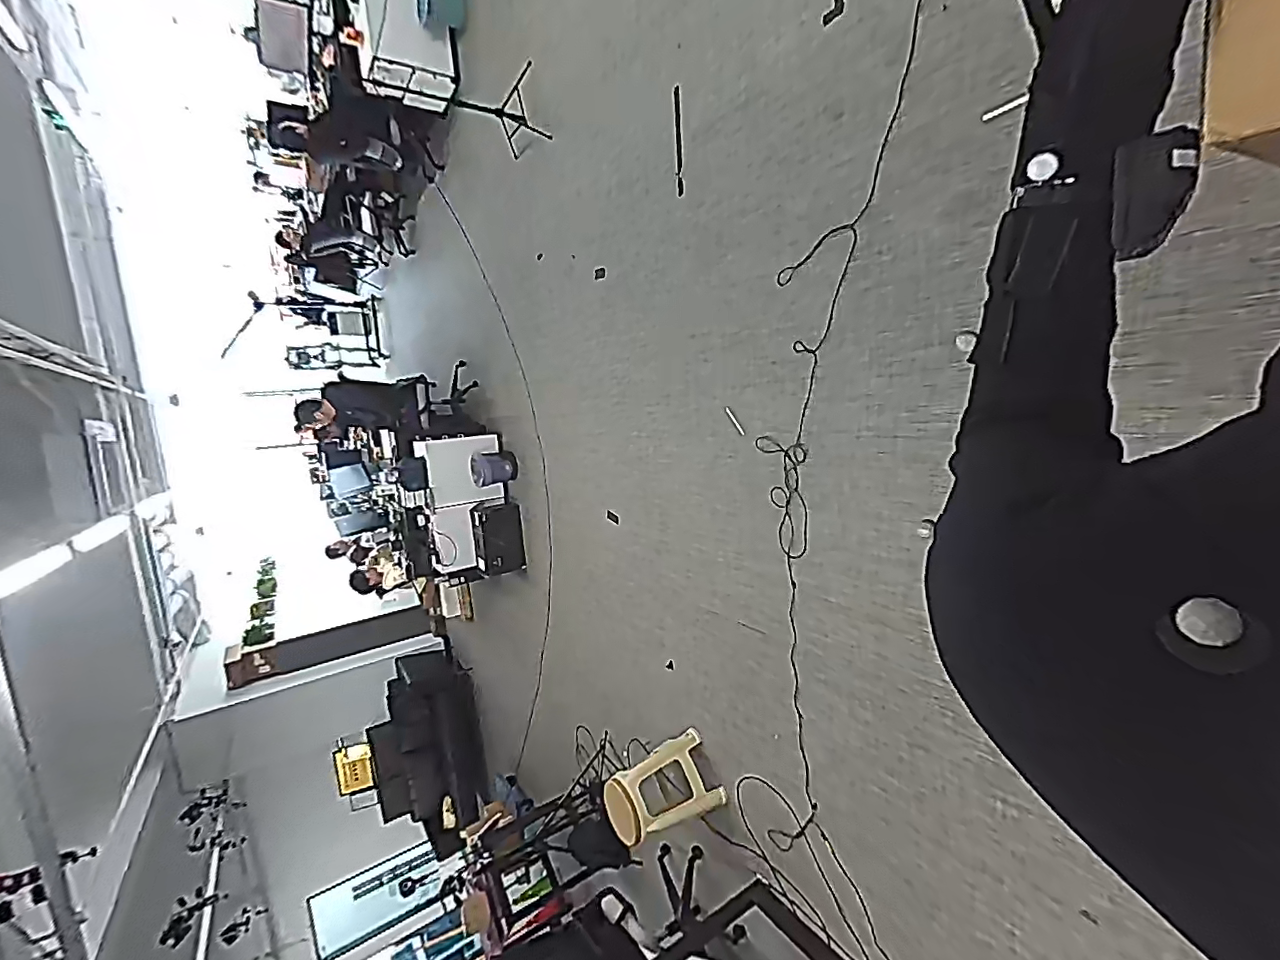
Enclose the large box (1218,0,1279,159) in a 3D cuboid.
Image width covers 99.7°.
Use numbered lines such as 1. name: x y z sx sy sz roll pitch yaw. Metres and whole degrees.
1. large box: 0.522 -0.359 0.188 0.408 0.320 0.320 8 112 54
